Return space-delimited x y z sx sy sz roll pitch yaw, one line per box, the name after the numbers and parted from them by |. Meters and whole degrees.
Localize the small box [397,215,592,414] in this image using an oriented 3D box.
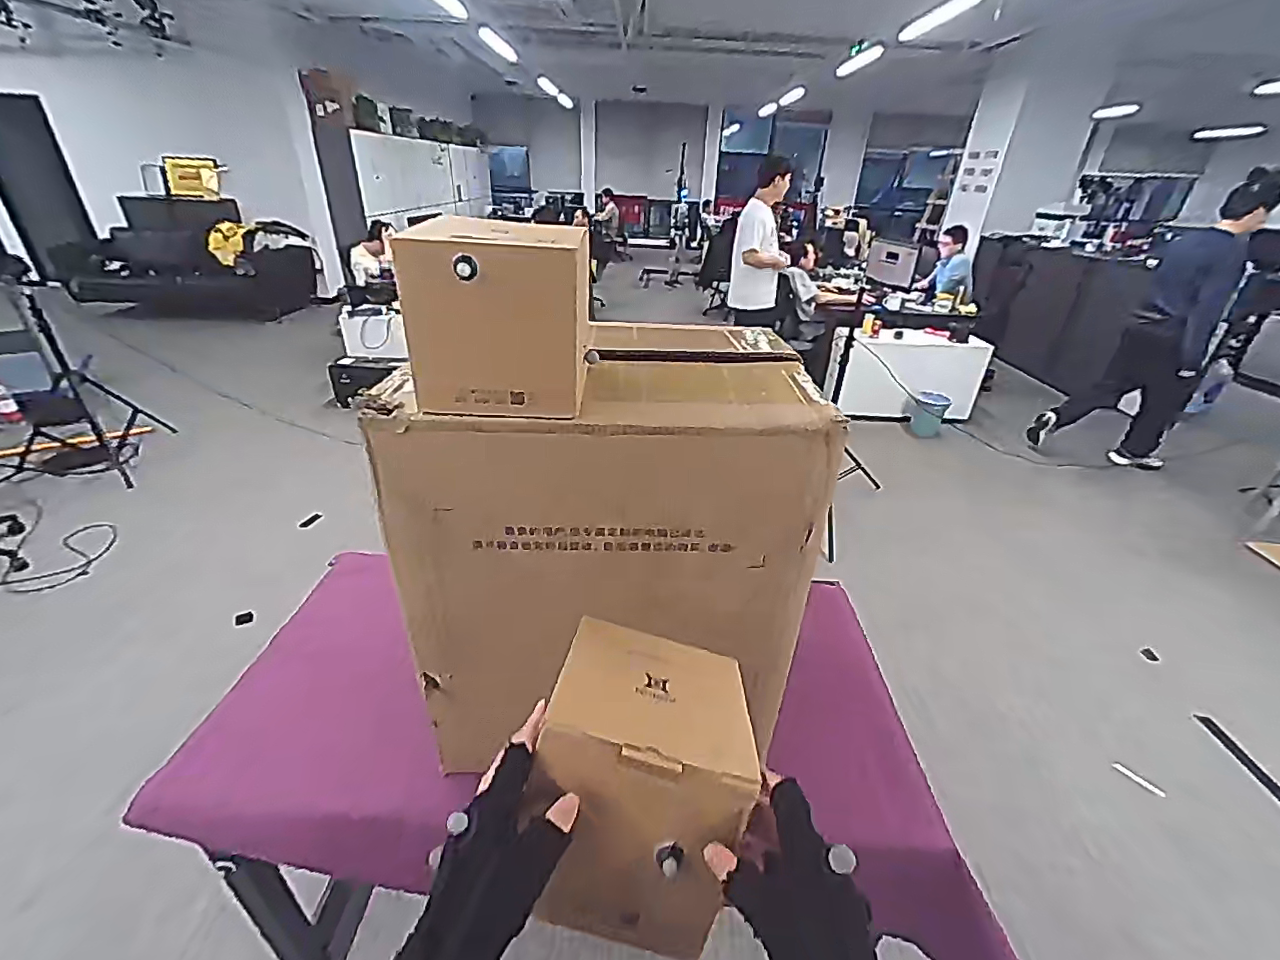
-0.140 -0.183 0.585 0.168 0.176 0.179 2 29 -3 | small box

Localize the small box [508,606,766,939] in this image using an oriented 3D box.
-0.005 0.240 0.473 0.168 0.176 0.179 16 11 0 | small box
